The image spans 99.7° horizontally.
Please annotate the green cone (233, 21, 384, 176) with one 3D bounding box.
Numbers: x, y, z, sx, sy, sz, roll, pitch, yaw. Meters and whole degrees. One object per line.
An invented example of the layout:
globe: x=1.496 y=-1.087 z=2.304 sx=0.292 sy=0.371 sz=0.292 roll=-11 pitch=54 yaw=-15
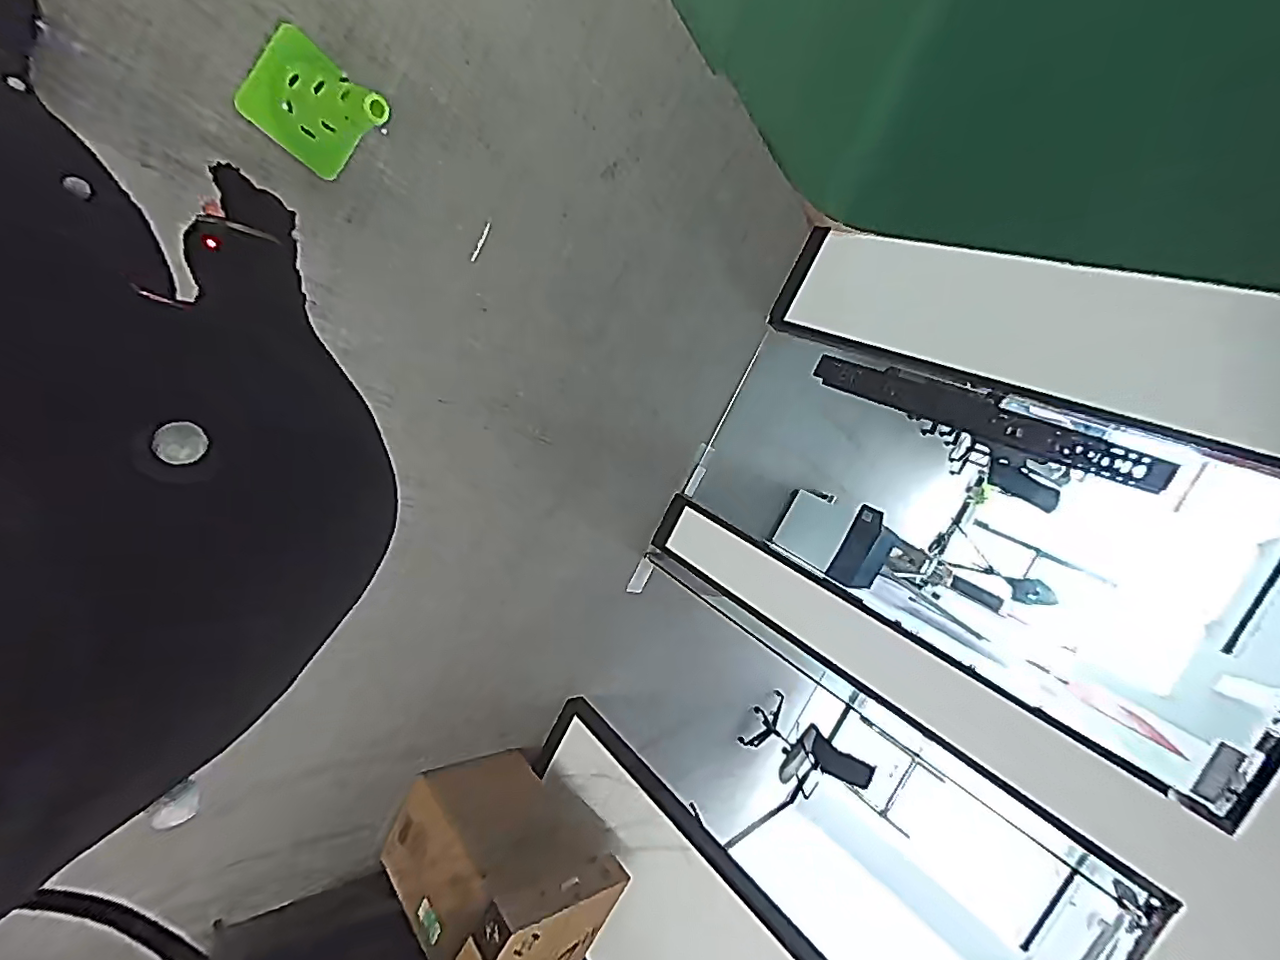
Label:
green cone: x=-0.566 y=-0.700 z=1.001 sx=0.200 sy=0.368 sz=0.202 roll=31 pitch=91 yaw=-53
